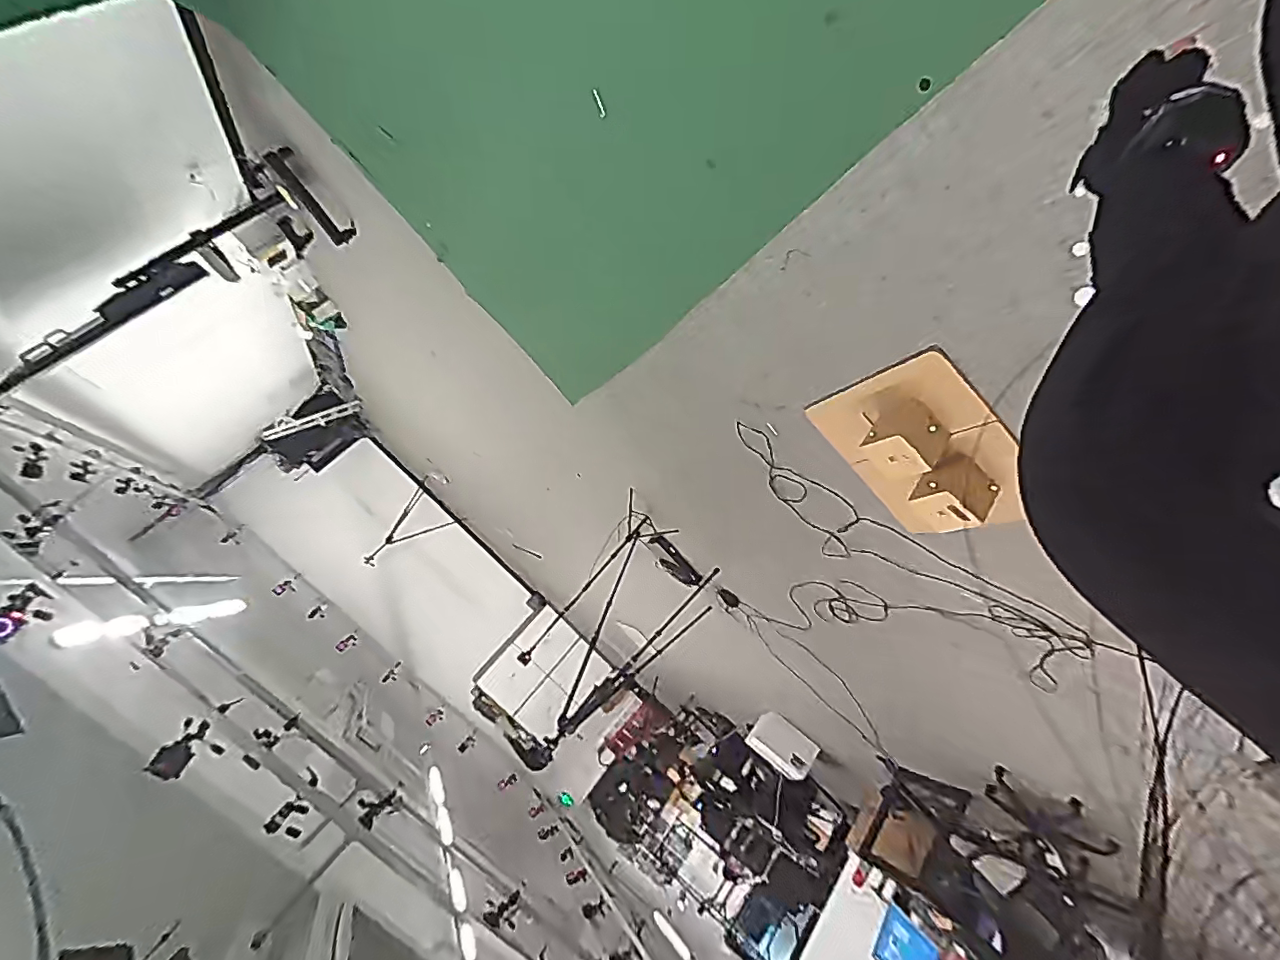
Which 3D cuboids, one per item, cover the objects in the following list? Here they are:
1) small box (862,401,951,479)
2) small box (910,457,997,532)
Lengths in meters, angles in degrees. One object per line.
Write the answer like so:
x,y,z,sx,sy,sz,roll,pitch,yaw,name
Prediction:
0.884,-0.131,1.793,0.168,0.176,0.179,45,156,-8,small box
1.060,0.047,1.817,0.168,0.176,0.179,43,157,-4,small box
